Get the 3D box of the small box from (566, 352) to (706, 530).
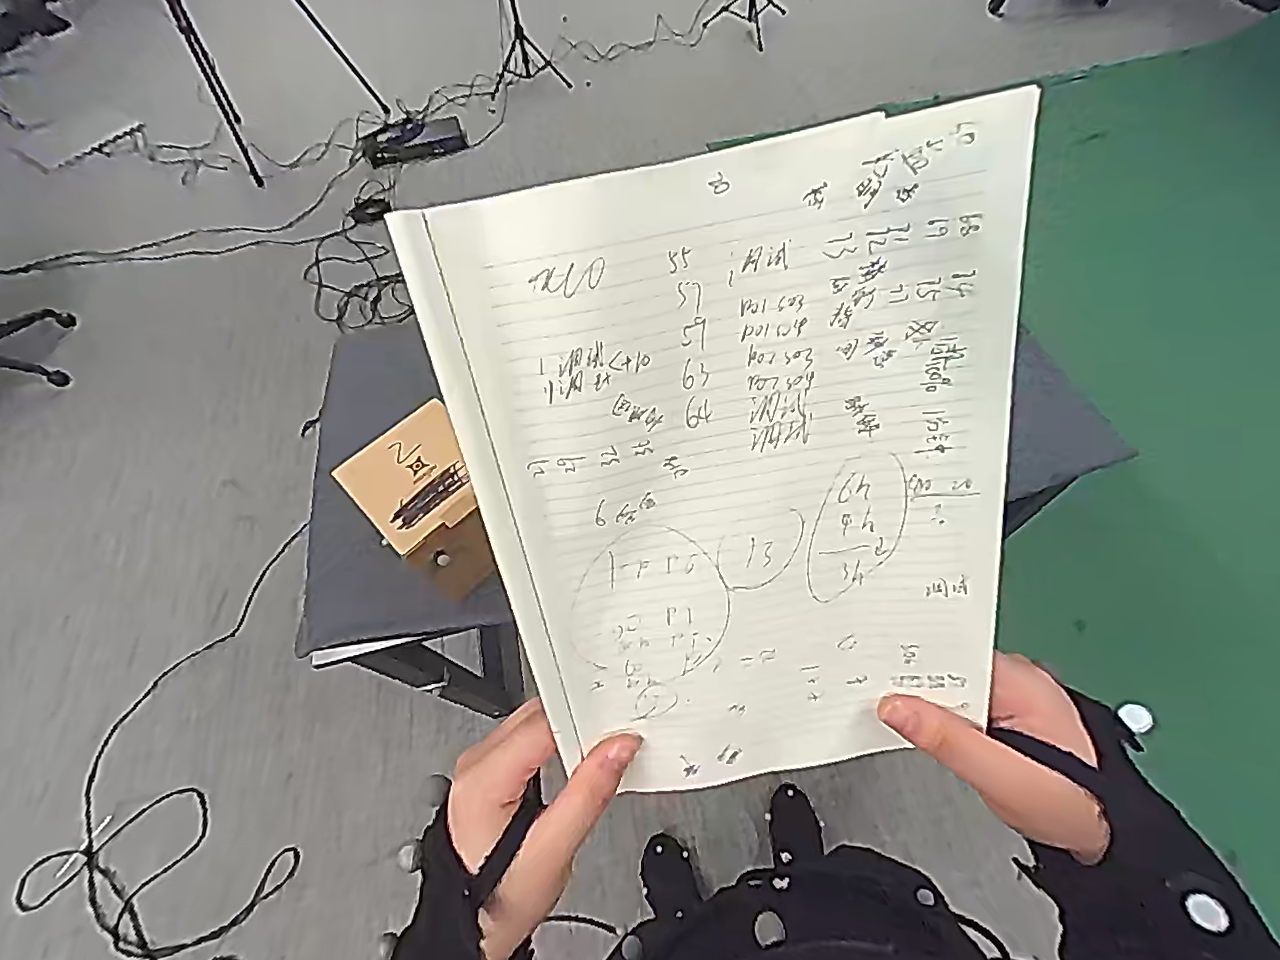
[{"bbox_3d":[-0.005,-0.052,0.778,0.168,0.176,0.179,-11,58,0],"label":"small box"}]
